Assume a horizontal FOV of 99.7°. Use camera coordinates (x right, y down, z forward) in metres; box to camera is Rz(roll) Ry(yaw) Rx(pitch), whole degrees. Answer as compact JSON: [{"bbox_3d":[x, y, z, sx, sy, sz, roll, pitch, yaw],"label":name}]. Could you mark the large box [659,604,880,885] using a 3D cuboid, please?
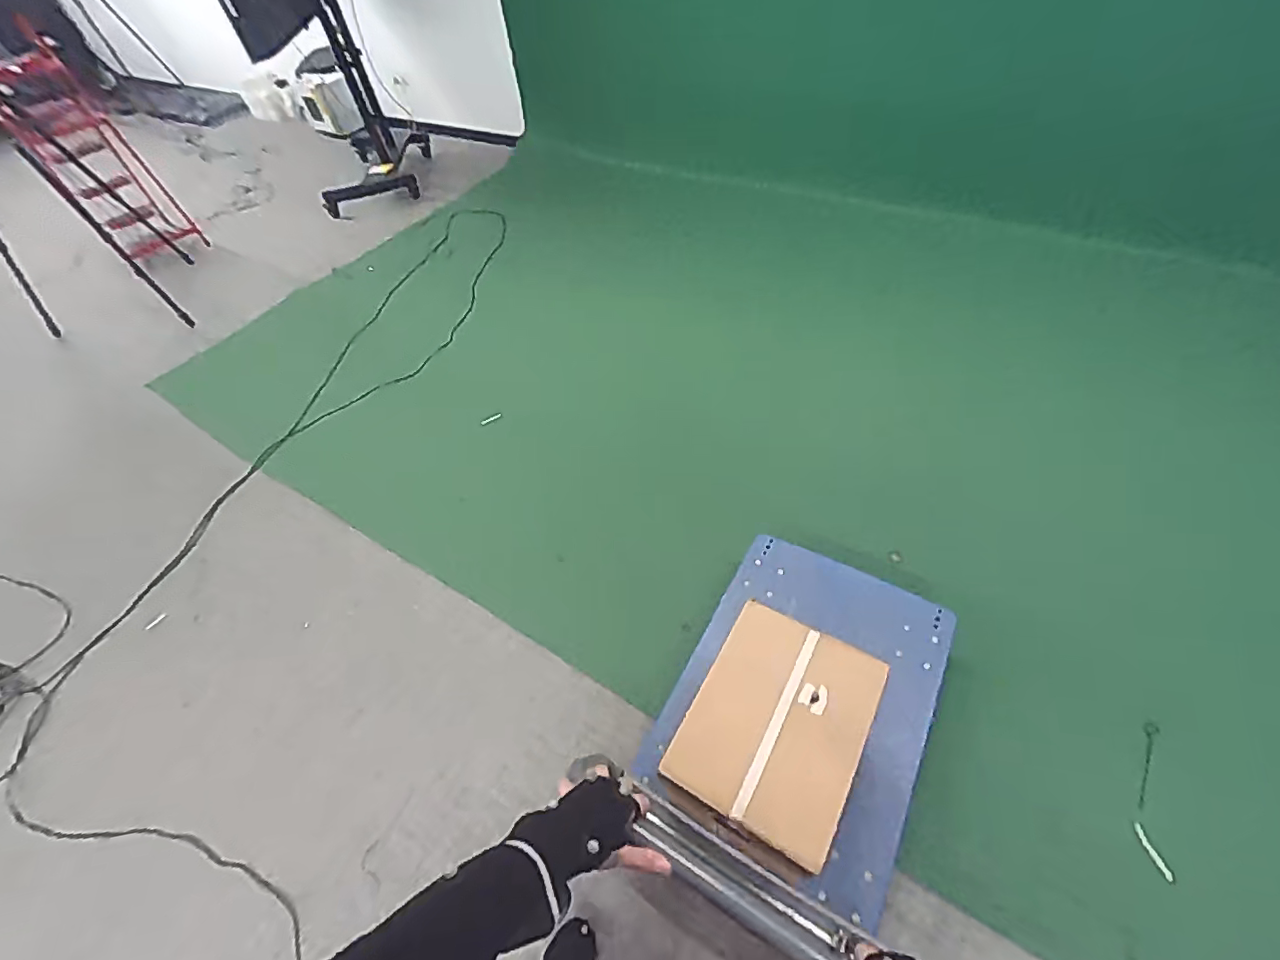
[{"bbox_3d":[0.272,0.561,1.165,0.320,0.320,0.408,23,56,22],"label":"large box"}]
